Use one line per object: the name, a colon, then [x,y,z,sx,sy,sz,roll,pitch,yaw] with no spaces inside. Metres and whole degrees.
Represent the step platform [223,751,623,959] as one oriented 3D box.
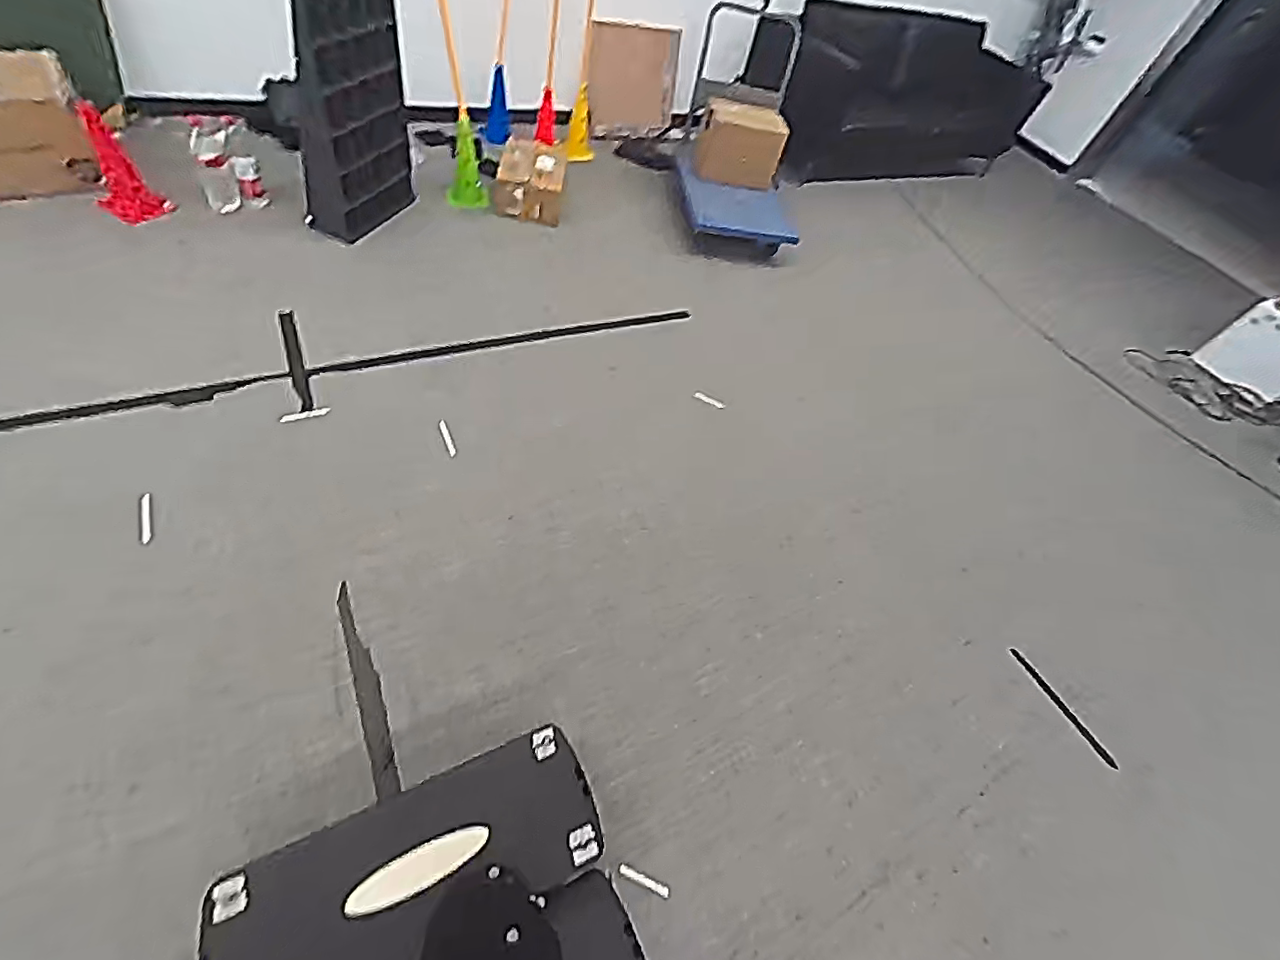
step platform: [-0.378,0.791,1.043,0.684,0.204,0.286,-11,55,-24]
